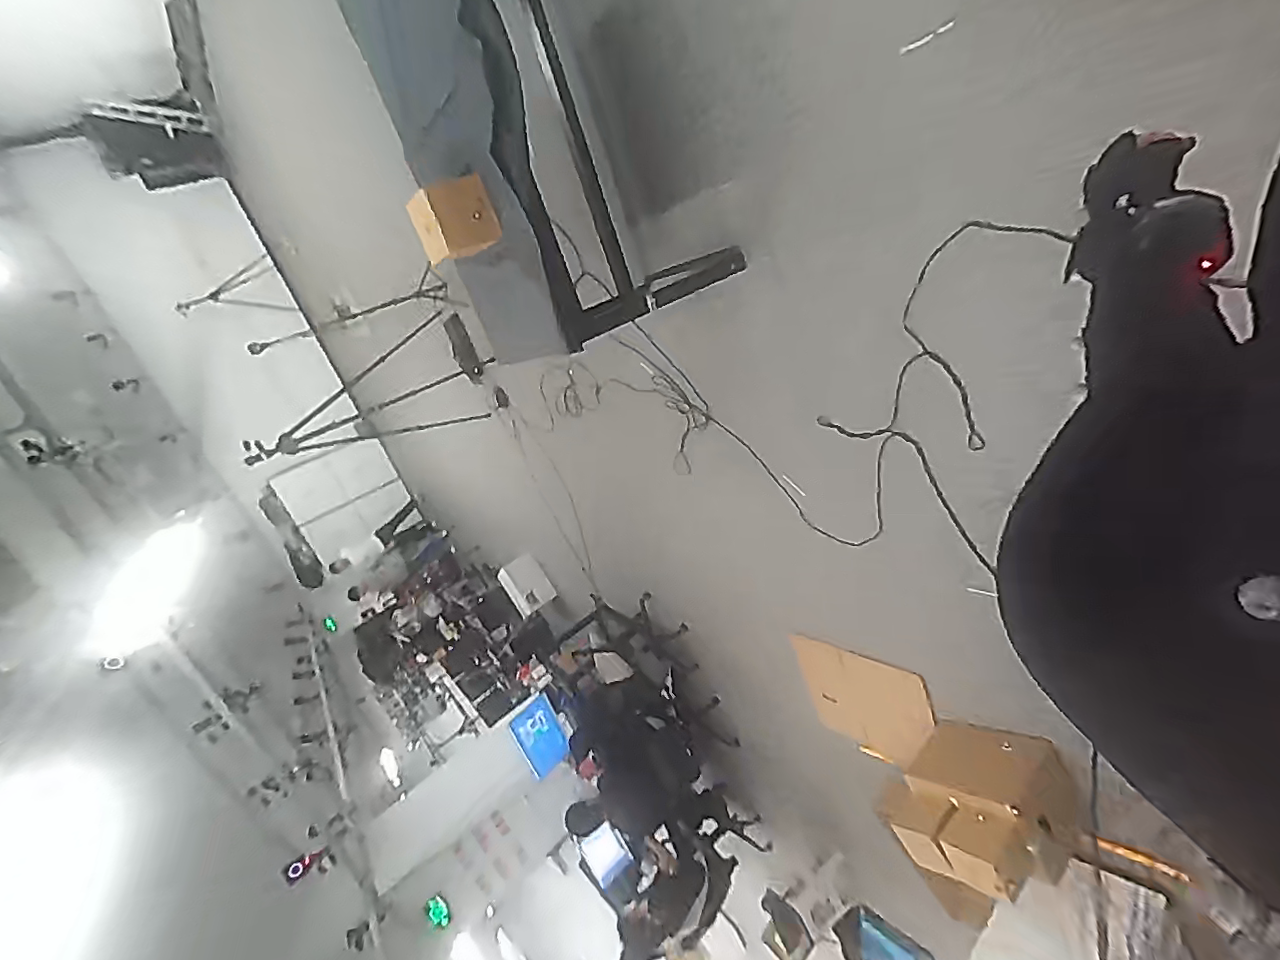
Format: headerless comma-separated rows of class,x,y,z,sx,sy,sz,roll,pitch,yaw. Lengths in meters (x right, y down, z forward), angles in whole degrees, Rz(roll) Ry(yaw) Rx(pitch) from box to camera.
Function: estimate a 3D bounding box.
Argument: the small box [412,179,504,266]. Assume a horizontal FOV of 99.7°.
small box,-0.506,-0.718,1.513,0.179,0.176,0.168,11,127,53
